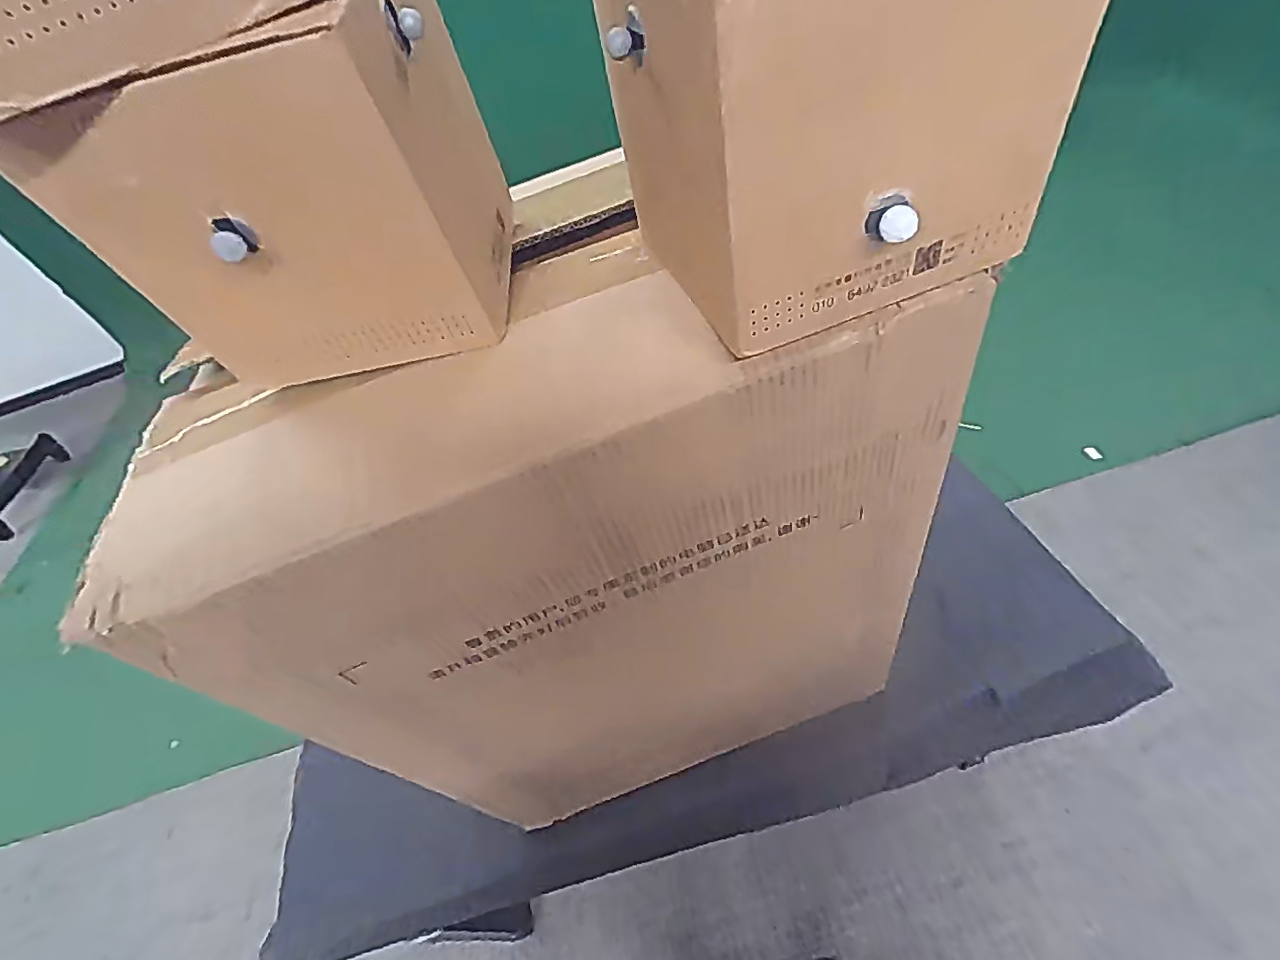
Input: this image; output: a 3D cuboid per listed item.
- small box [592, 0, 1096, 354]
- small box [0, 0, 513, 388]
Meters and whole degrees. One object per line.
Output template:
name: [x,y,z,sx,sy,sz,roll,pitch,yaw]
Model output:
small box: [0.080,-0.196,0.280,0.168,0.176,0.179,-21,49,-3]
small box: [-0.195,-0.177,0.328,0.179,0.176,0.168,-10,57,7]
